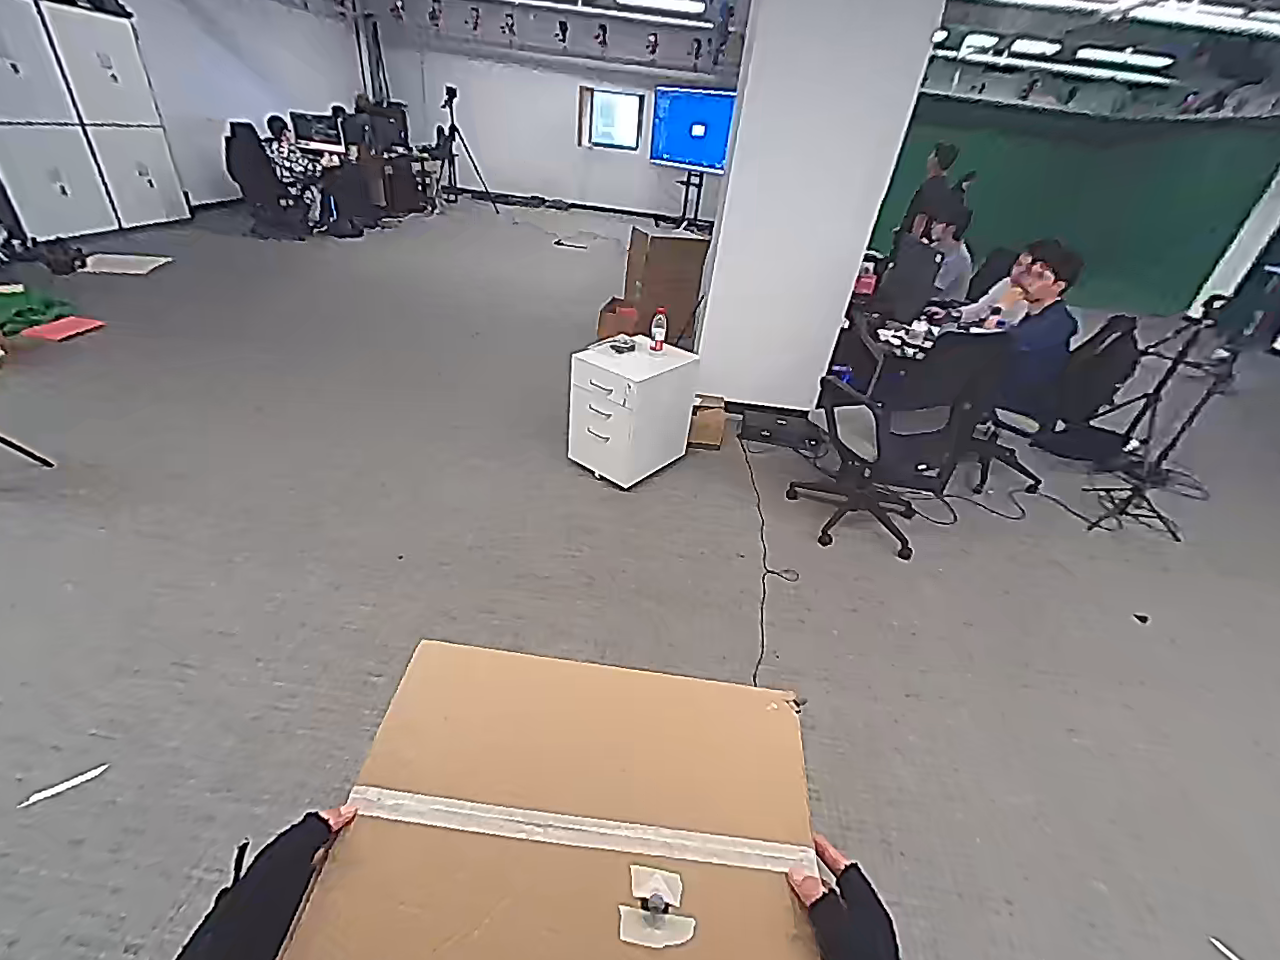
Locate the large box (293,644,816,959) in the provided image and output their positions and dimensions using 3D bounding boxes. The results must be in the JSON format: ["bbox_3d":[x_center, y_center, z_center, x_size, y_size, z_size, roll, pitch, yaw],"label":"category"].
[{"bbox_3d":[-0.067,0.415,0.581,0.408,0.320,0.320,8,42,0],"label":"large box"}]
